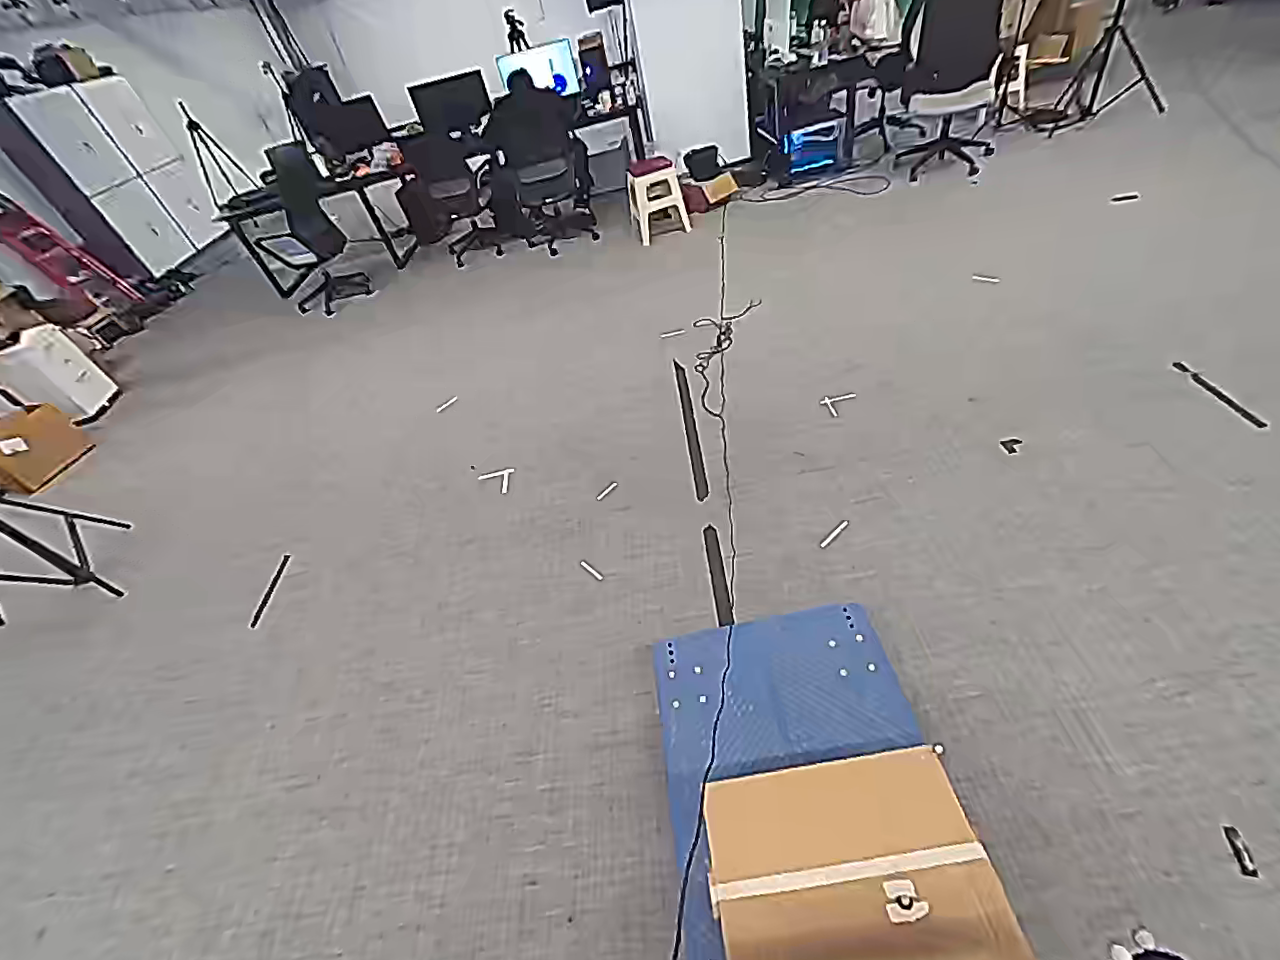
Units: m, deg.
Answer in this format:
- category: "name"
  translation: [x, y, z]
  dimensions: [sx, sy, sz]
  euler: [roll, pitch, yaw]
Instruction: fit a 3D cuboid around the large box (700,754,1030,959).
- category: "large box"
  translation: [0.340, 0.712, 0.905]
  dimensions: [0.408, 0.320, 0.320]
  euler: [-12, 42, 4]
